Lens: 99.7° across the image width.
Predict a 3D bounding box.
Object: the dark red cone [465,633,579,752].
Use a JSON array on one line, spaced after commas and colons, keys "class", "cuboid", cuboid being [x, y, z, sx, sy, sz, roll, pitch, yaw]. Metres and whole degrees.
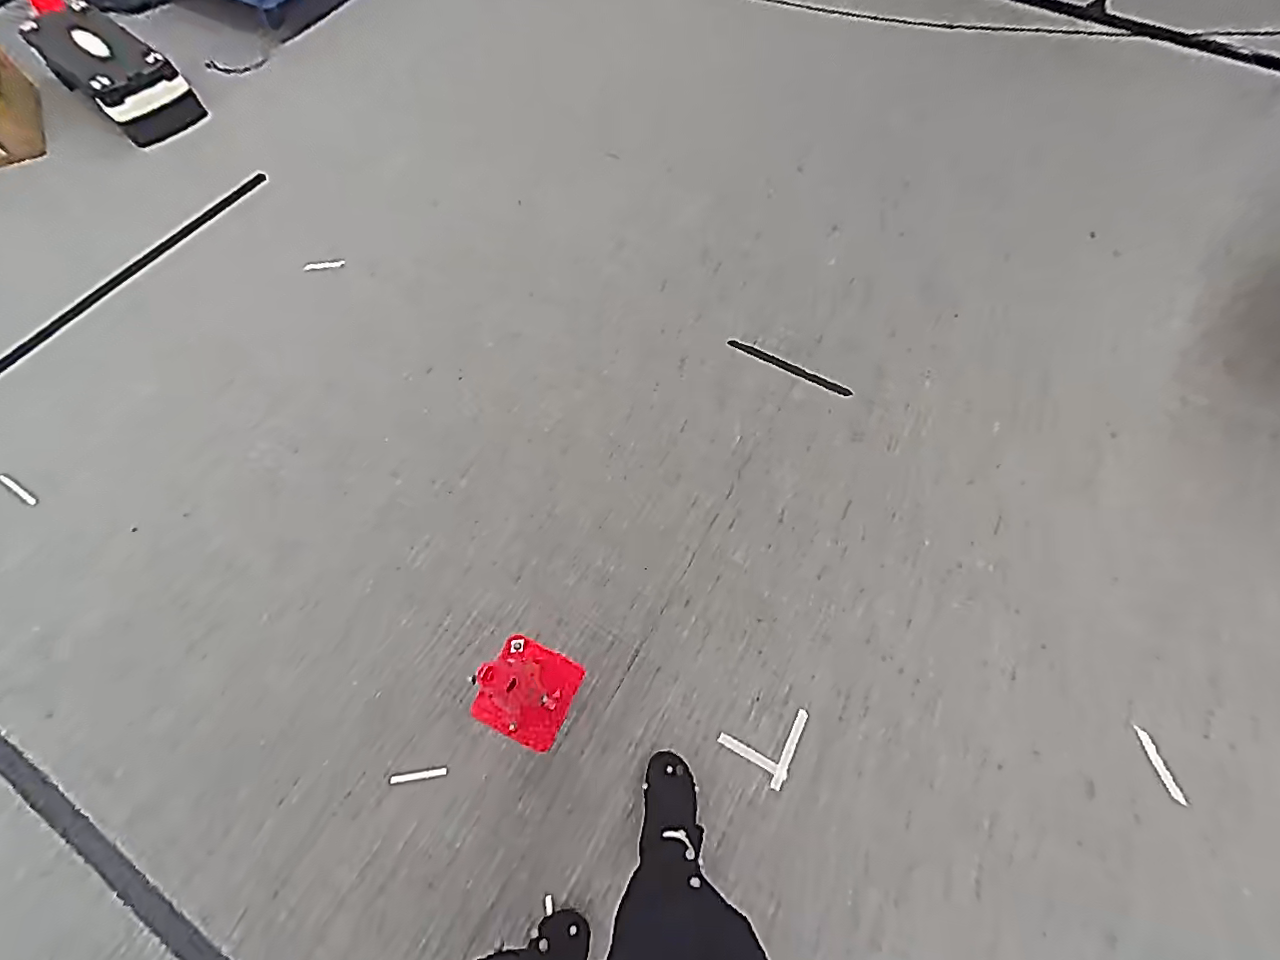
[{"class": "dark red cone", "cuboid": [-0.254, 0.390, 1.031, 0.202, 0.394, 0.201, 22, 67, 11]}]
